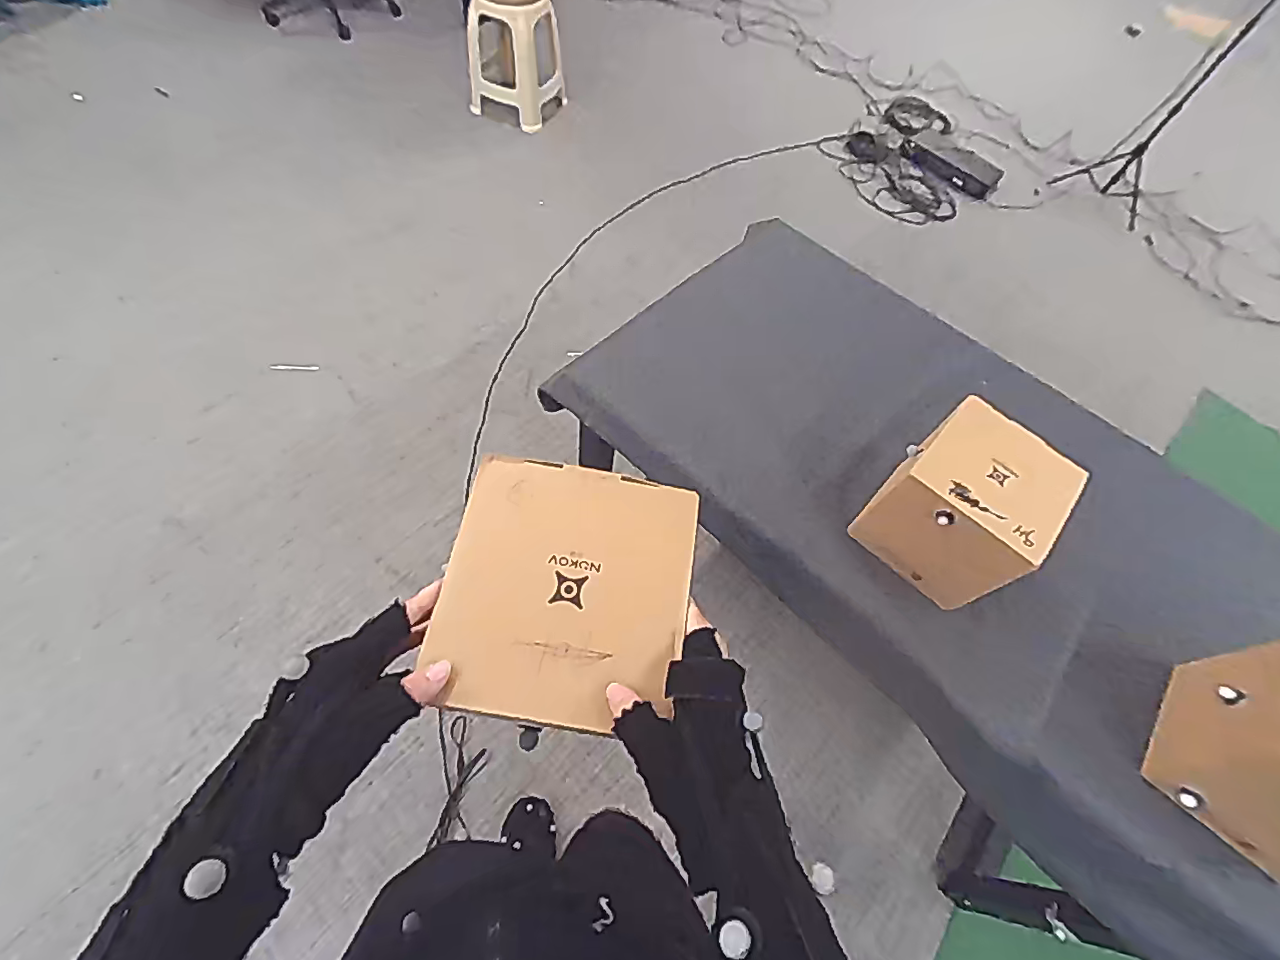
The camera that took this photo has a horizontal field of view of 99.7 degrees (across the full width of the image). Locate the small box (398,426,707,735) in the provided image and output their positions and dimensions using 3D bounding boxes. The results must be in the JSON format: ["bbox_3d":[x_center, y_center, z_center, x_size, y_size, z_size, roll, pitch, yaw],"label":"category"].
[{"bbox_3d":[-0.056,0.088,0.422,0.168,0.176,0.179,13,64,0],"label":"small box"}]

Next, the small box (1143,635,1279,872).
[{"bbox_3d":[0.714,0.301,0.590,0.168,0.176,0.179,41,62,16],"label":"small box"}]

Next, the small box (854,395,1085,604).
[{"bbox_3d":[0.415,0.029,0.708,0.168,0.176,0.179,41,63,16],"label":"small box"}]
